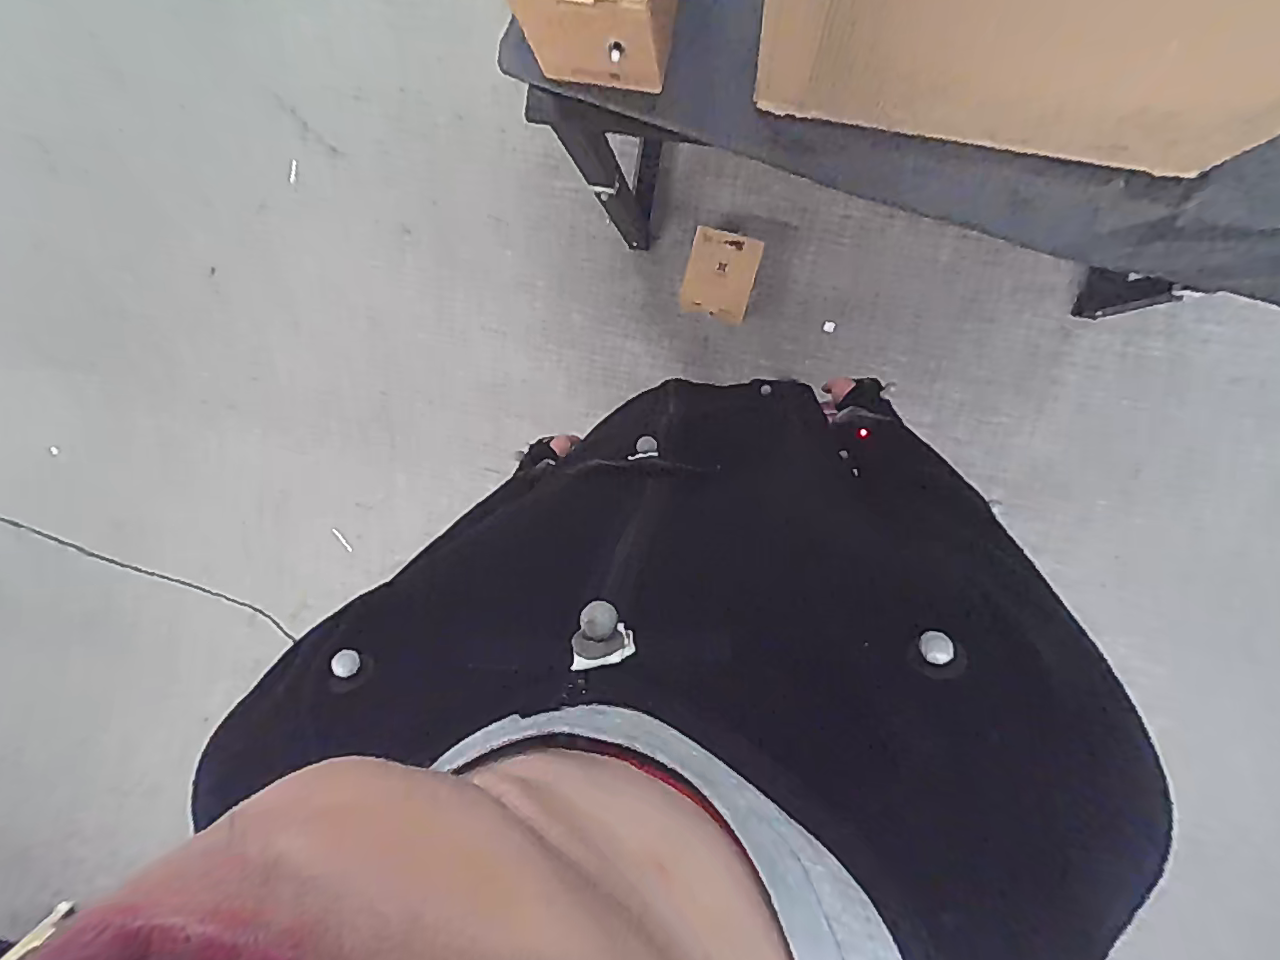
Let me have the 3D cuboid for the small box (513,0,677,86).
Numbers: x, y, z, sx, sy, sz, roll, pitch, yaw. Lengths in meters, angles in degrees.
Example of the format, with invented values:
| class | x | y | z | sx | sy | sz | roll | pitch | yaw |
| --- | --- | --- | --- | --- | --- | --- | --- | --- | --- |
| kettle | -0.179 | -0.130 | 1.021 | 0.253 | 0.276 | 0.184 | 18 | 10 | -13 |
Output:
| class | x | y | z | sx | sy | sz | roll | pitch | yaw |
| --- | --- | --- | --- | --- | --- | --- | --- | --- | --- |
| small box | -0.042 | -0.616 | 0.648 | 0.168 | 0.176 | 0.179 | 11 | 97 | 5 |
